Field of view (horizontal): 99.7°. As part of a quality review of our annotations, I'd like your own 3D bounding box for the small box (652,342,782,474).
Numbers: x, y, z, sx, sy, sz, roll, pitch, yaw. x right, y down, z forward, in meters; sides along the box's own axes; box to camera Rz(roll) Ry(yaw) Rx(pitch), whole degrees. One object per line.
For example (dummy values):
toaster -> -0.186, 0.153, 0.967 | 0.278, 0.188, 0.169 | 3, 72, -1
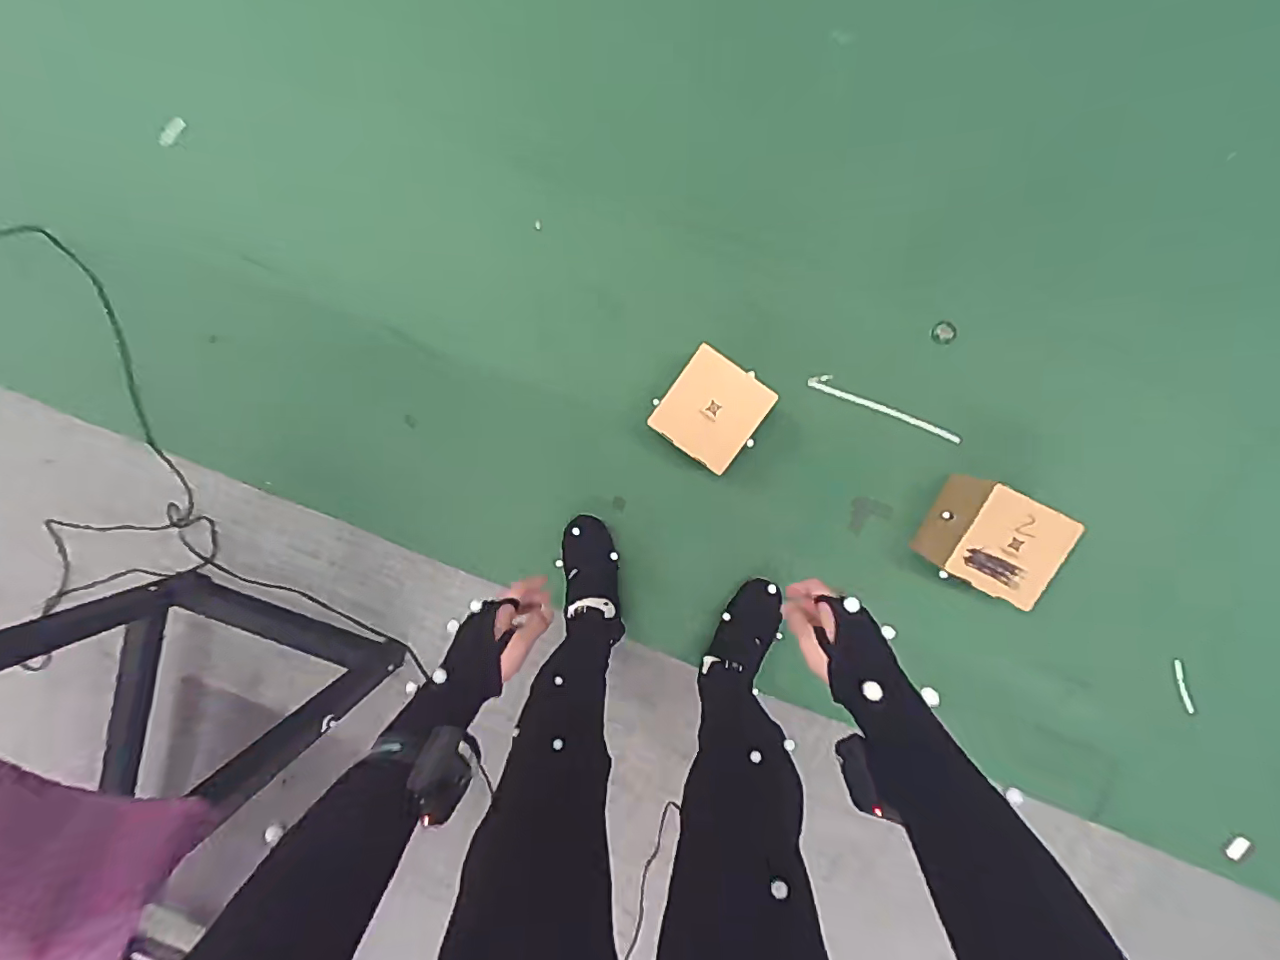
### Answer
small box -> 0.141, -0.137, 1.025 | 0.168, 0.176, 0.179 | 36, 102, 1
